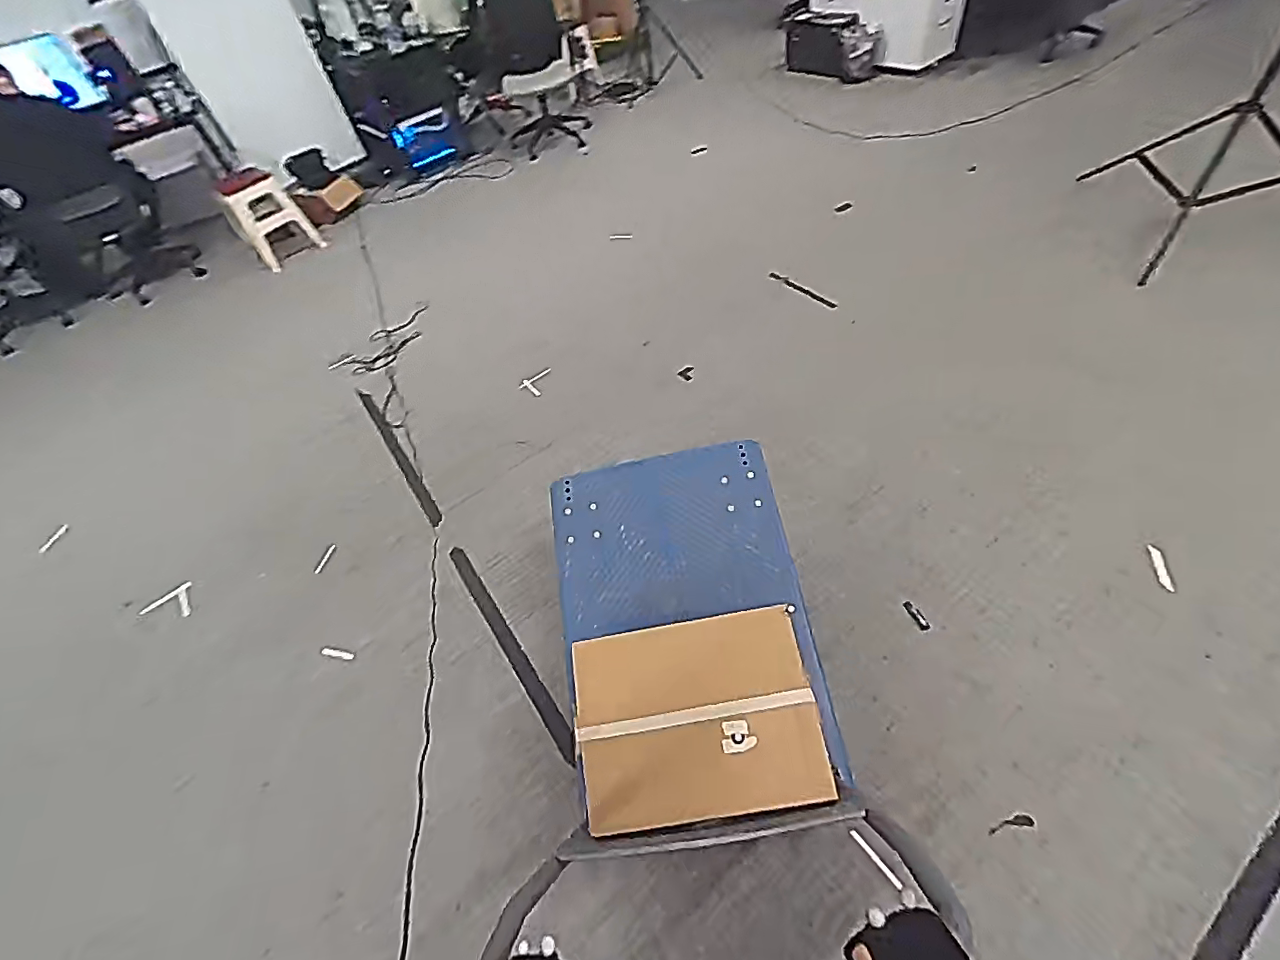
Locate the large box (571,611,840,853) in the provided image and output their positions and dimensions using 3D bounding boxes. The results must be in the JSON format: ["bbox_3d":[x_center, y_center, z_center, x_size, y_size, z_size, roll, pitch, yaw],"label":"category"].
[{"bbox_3d":[0.111,0.473,1.040,0.408,0.320,0.320,-12,65,3],"label":"large box"}]
